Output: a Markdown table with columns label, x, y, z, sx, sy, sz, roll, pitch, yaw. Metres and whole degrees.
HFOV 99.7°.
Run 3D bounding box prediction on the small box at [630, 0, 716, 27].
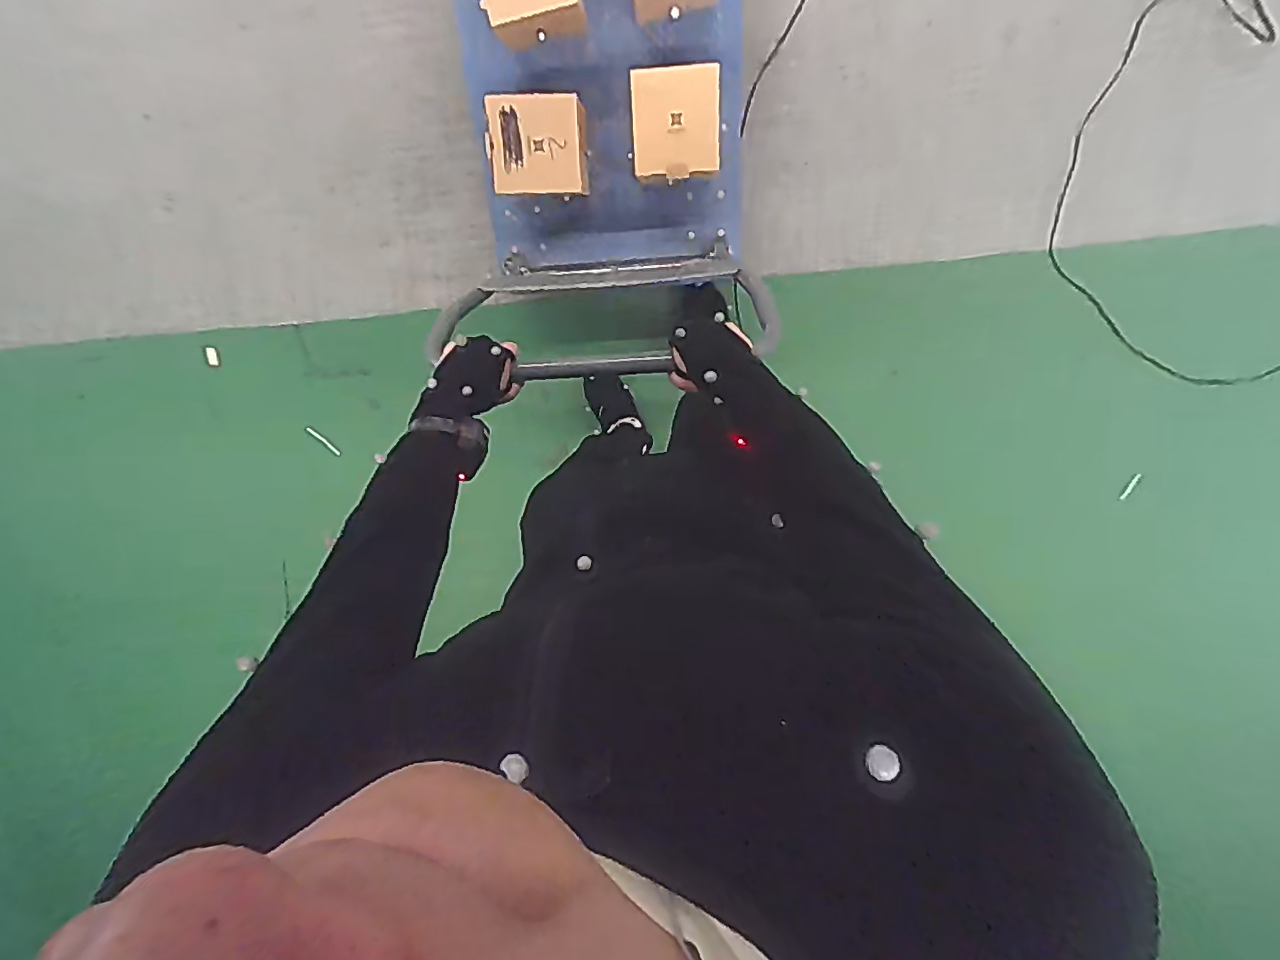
| label | x | y | z | sx | sy | sz | roll | pitch | yaw |
| --- | --- | --- | --- | --- | --- | --- | --- | --- | --- |
| small box | 0.053 | -0.967 | 0.975 | 0.168 | 0.176 | 0.179 | -9 | 116 | 6 |

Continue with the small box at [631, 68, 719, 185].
| label | x | y | z | sx | sy | sz | roll | pitch | yaw |
| --- | --- | --- | --- | --- | --- | --- | --- | --- | --- |
| small box | 0.067 | -0.709 | 1.101 | 0.168 | 0.176 | 0.179 | -3 | 117 | 2 |

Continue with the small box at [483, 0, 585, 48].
| label | x | y | z | sx | sy | sz | roll | pitch | yaw |
| --- | --- | --- | --- | --- | --- | --- | --- | --- | --- |
| small box | -0.204 | -0.930 | 0.996 | 0.168 | 0.176 | 0.179 | -10 | 115 | 5 |
